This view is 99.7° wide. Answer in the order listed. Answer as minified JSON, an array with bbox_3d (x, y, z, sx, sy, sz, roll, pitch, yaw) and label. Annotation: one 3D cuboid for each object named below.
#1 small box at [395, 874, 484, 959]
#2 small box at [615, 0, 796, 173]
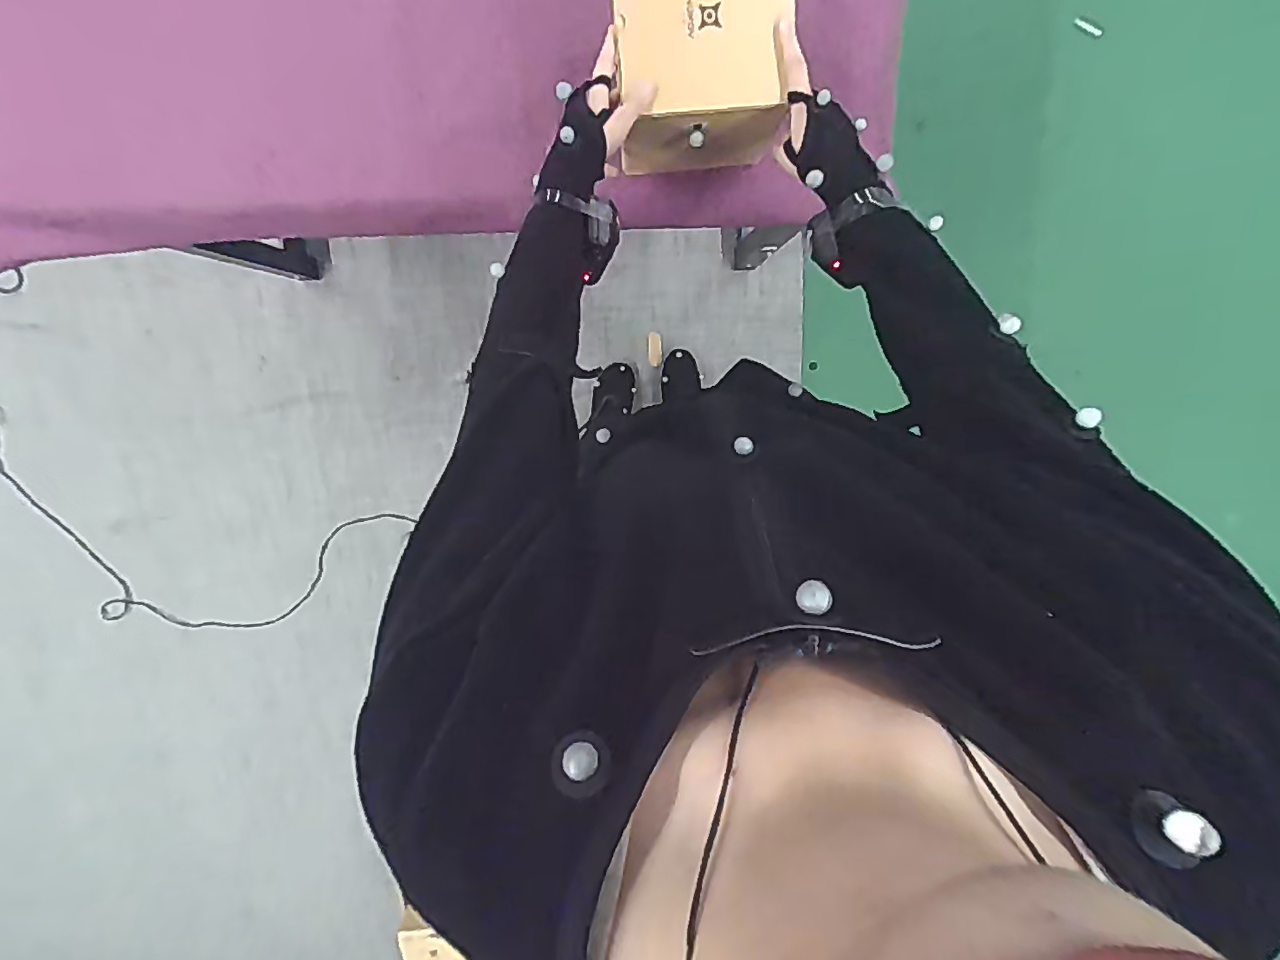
[{"bbox_3d":[-0.537,1.225,1.475,0.168,0.176,0.179,-6,101,1],"label":"small box"},{"bbox_3d":[0.065,-0.463,0.603,0.179,0.176,0.168,-4,102,2],"label":"small box"}]
